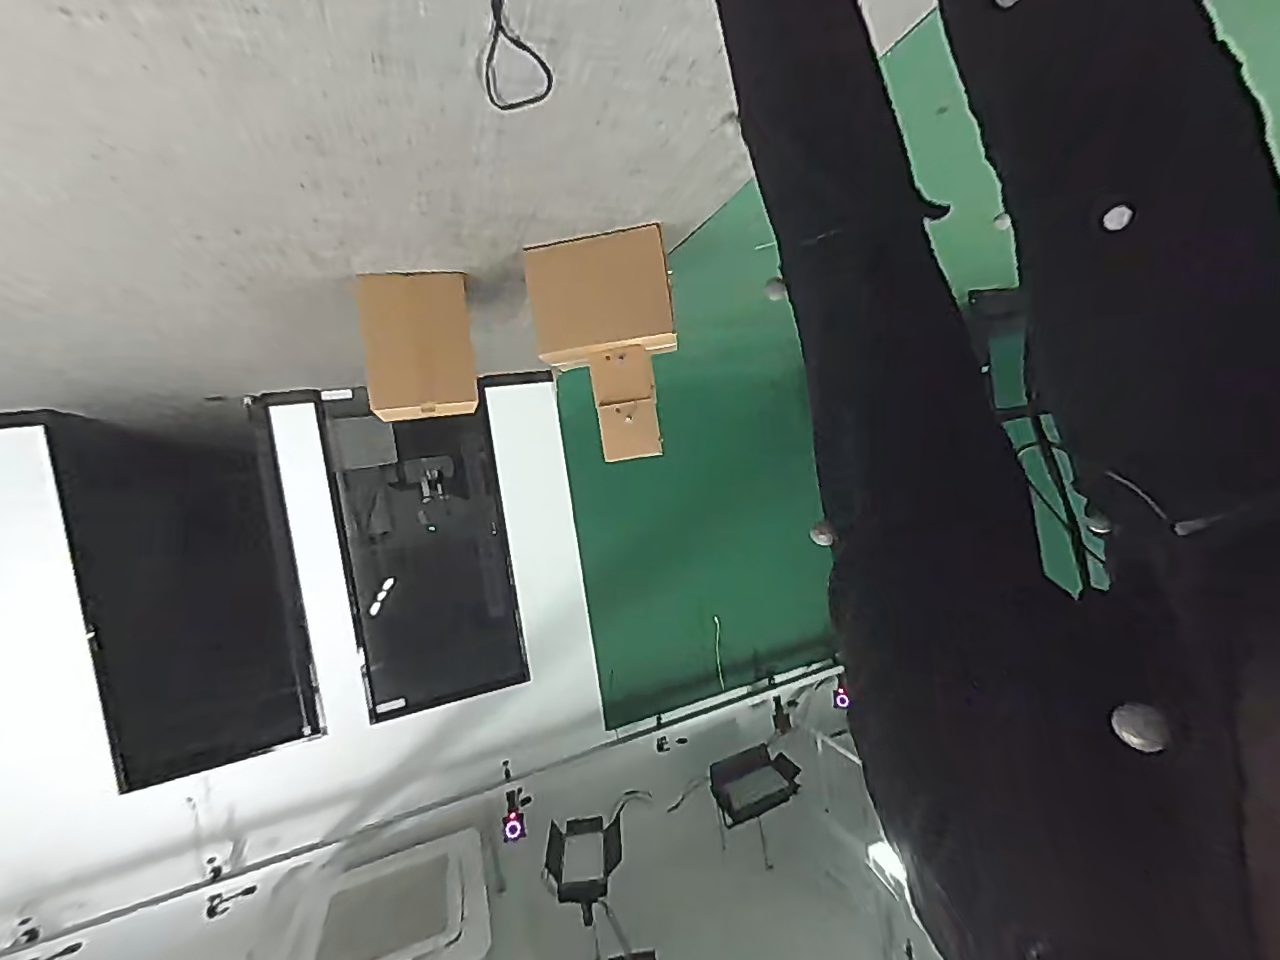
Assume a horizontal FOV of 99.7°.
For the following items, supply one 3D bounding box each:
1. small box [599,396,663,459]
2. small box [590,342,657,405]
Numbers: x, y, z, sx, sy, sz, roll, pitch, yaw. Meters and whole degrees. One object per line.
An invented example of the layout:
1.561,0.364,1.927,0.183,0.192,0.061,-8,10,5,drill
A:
-0.024,-0.162,1.683,0.168,0.176,0.179,-9,-178,7,small box
-0.048,-0.325,1.687,0.168,0.176,0.179,-9,-178,11,small box
